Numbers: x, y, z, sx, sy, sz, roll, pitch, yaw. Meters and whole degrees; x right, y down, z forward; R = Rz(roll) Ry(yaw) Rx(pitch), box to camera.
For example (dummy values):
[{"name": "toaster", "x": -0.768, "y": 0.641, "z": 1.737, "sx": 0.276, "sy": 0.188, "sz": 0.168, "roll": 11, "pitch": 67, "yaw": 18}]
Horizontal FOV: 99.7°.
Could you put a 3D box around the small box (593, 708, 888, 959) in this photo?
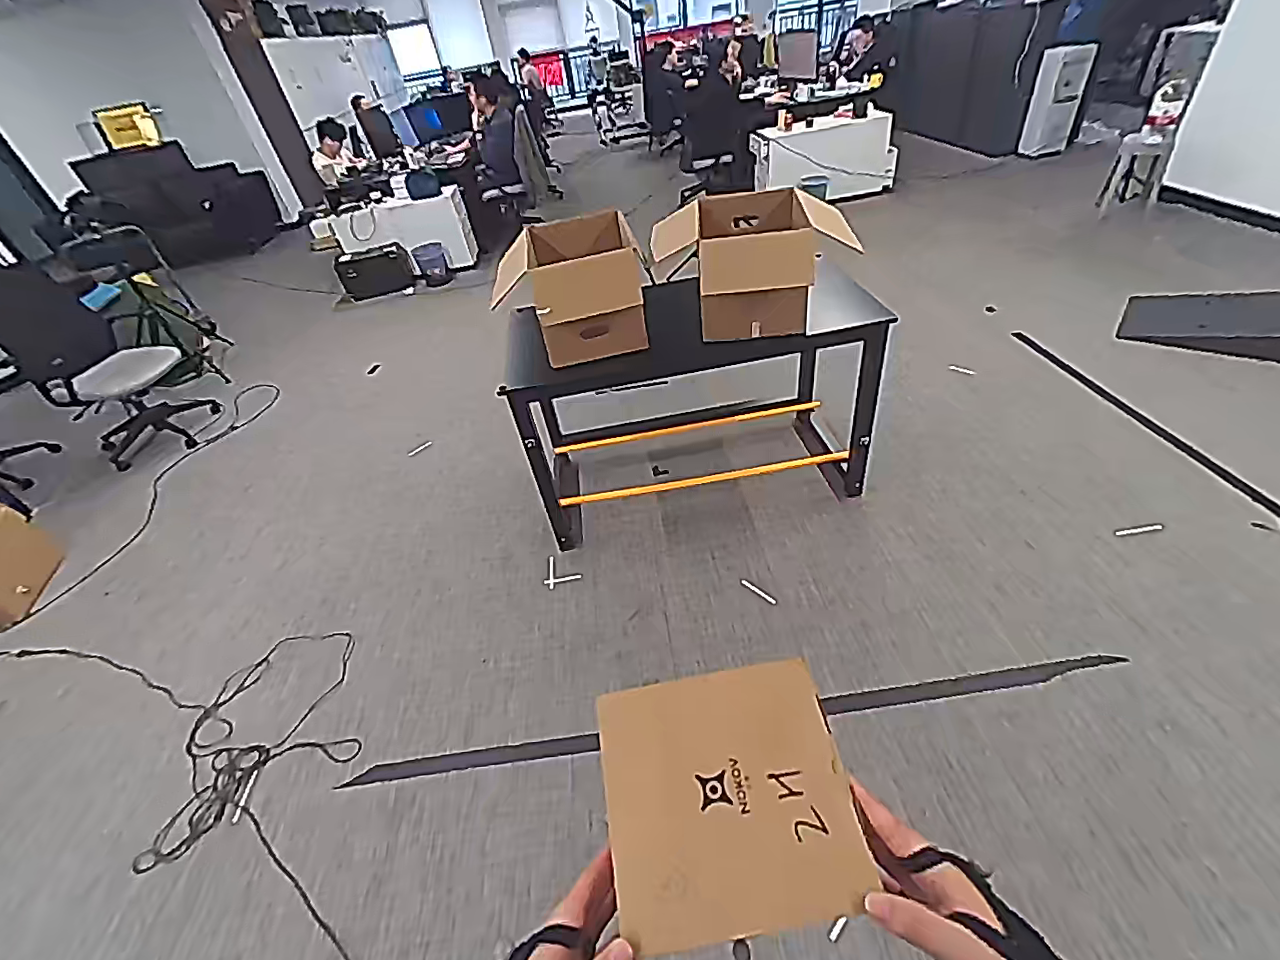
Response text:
[{"name": "small box", "x": 0.067, "y": 0.305, "z": 0.440, "sx": 0.179, "sy": 0.176, "sz": 0.168, "roll": -10, "pitch": 53, "yaw": -1}]
